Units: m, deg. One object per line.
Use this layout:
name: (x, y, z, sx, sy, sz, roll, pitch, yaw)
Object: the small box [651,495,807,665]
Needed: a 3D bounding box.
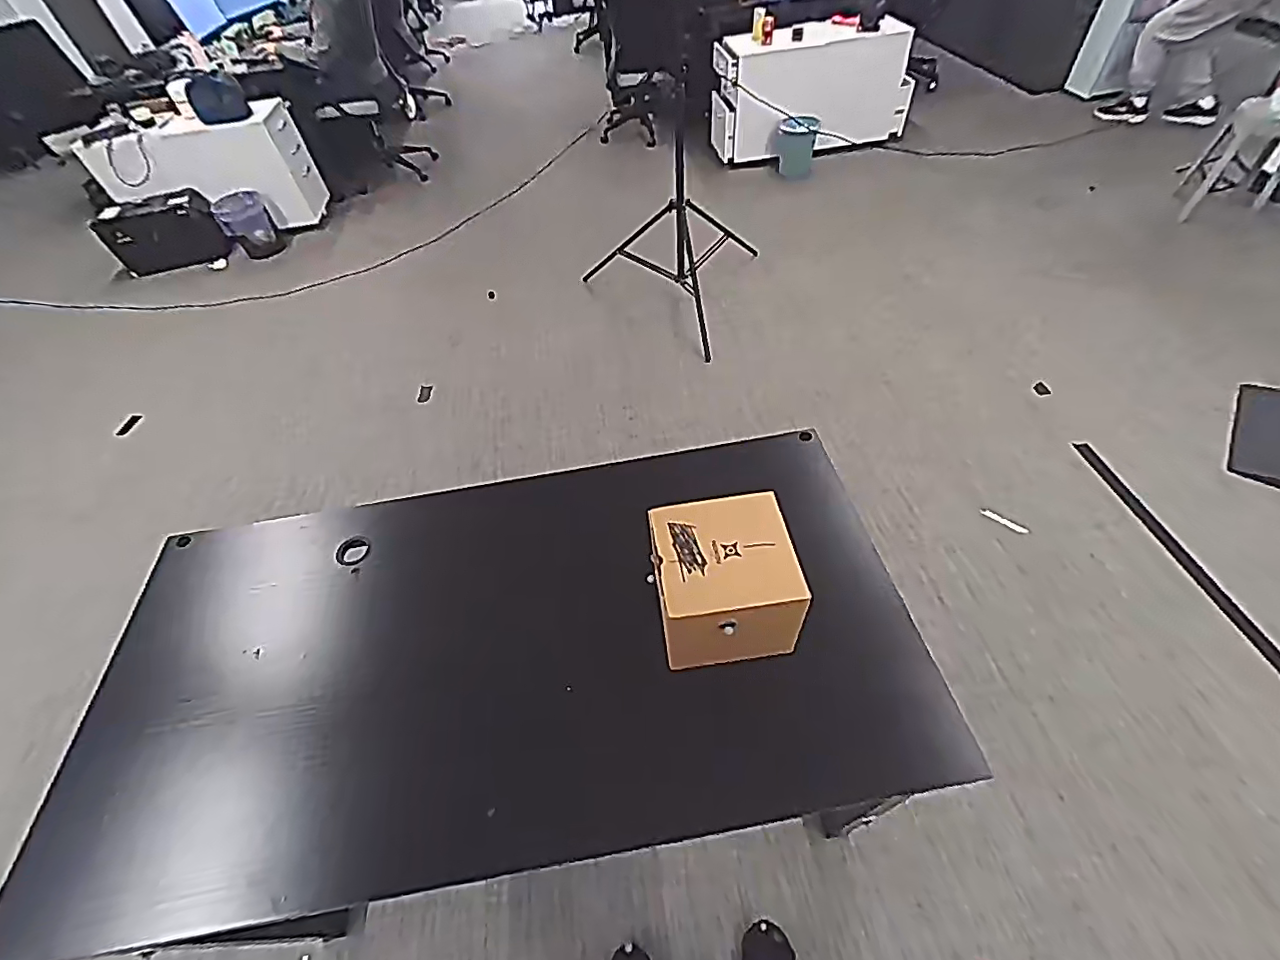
small box: (0.117, 0.146, 0.763, 0.179, 0.176, 0.168, -8, 50, -1)
